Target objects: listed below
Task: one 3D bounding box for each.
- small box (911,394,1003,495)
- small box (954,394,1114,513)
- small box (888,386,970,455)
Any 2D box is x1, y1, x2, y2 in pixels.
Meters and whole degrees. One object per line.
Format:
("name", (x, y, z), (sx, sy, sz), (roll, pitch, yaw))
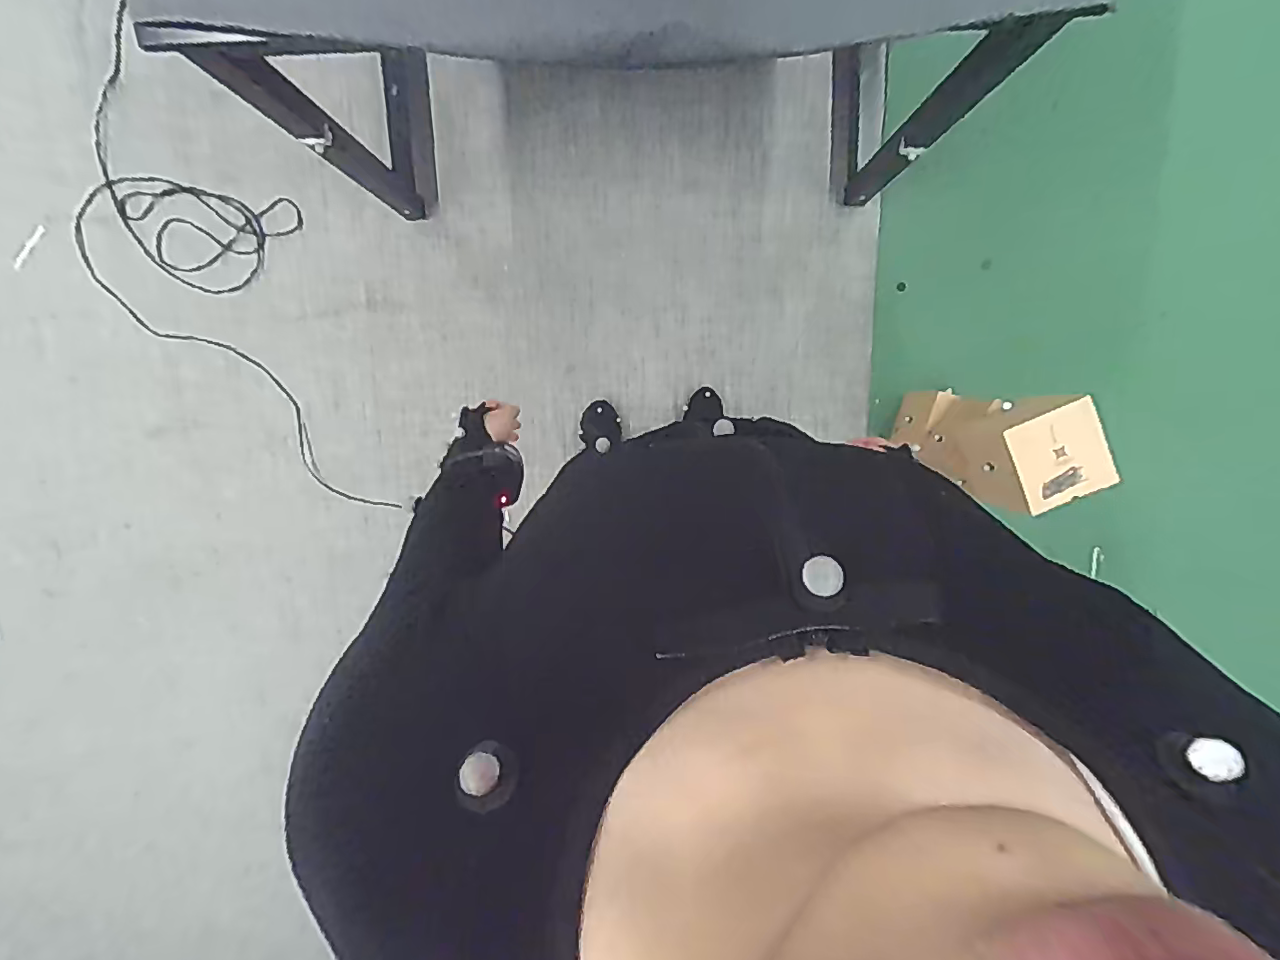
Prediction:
("small box", (0.759, -0.078, 1.219), (0.179, 0.176, 0.168), (36, 99, -6))
("small box", (0.757, -0.060, 1.056), (0.168, 0.176, 0.179), (-24, 97, 5))
("small box", (0.766, -0.135, 1.374), (0.179, 0.176, 0.168), (15, 100, -2))
